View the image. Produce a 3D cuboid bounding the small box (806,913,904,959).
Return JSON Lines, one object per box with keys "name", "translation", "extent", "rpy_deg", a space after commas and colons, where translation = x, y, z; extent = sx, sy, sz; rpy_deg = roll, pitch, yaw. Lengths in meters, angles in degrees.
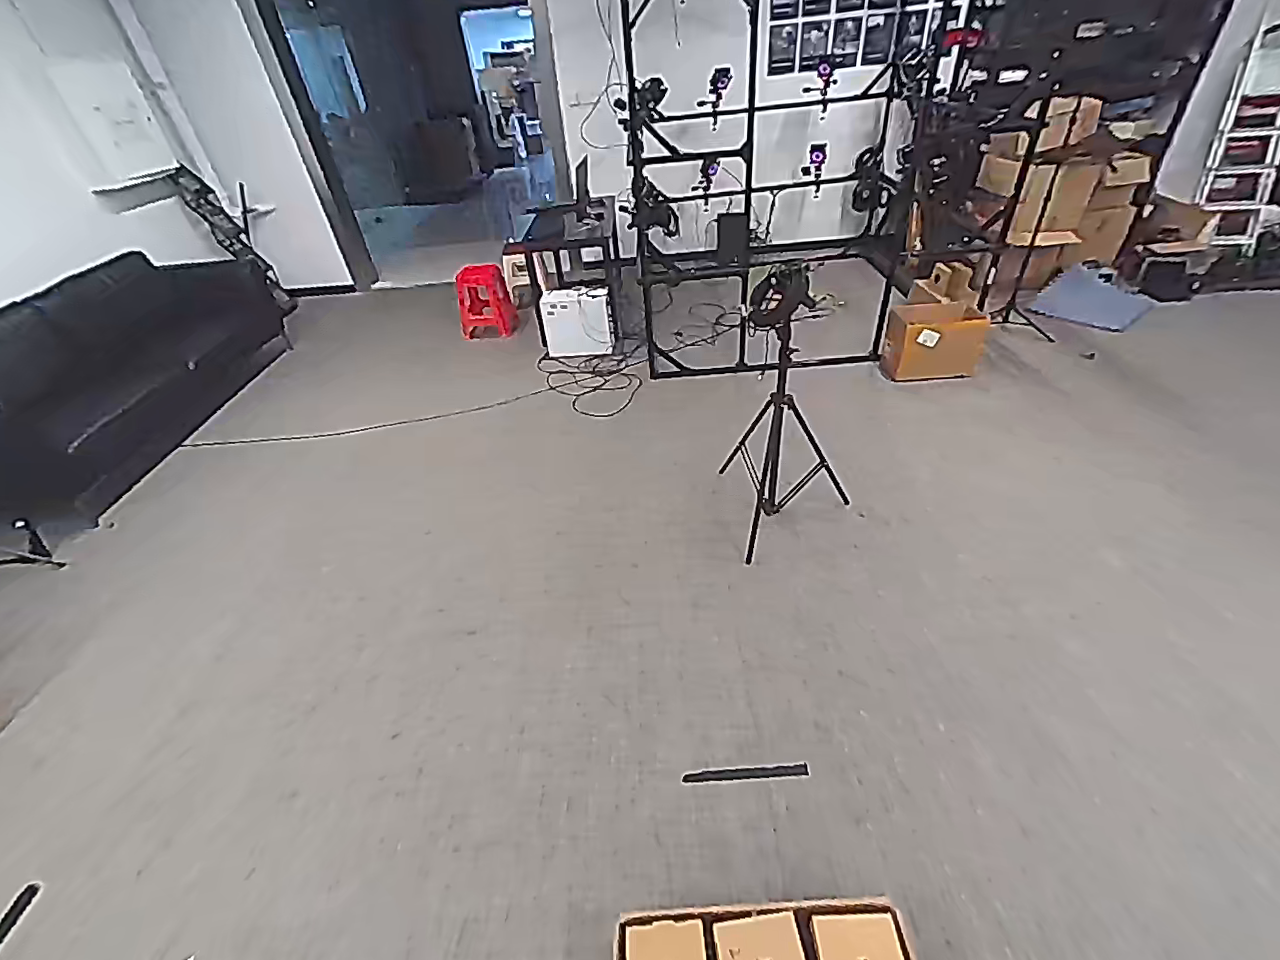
{"name": "small box", "translation": [0.450, 1.024, 1.115], "extent": [0.168, 0.176, 0.179], "rpy_deg": [-5, 41, 3]}
